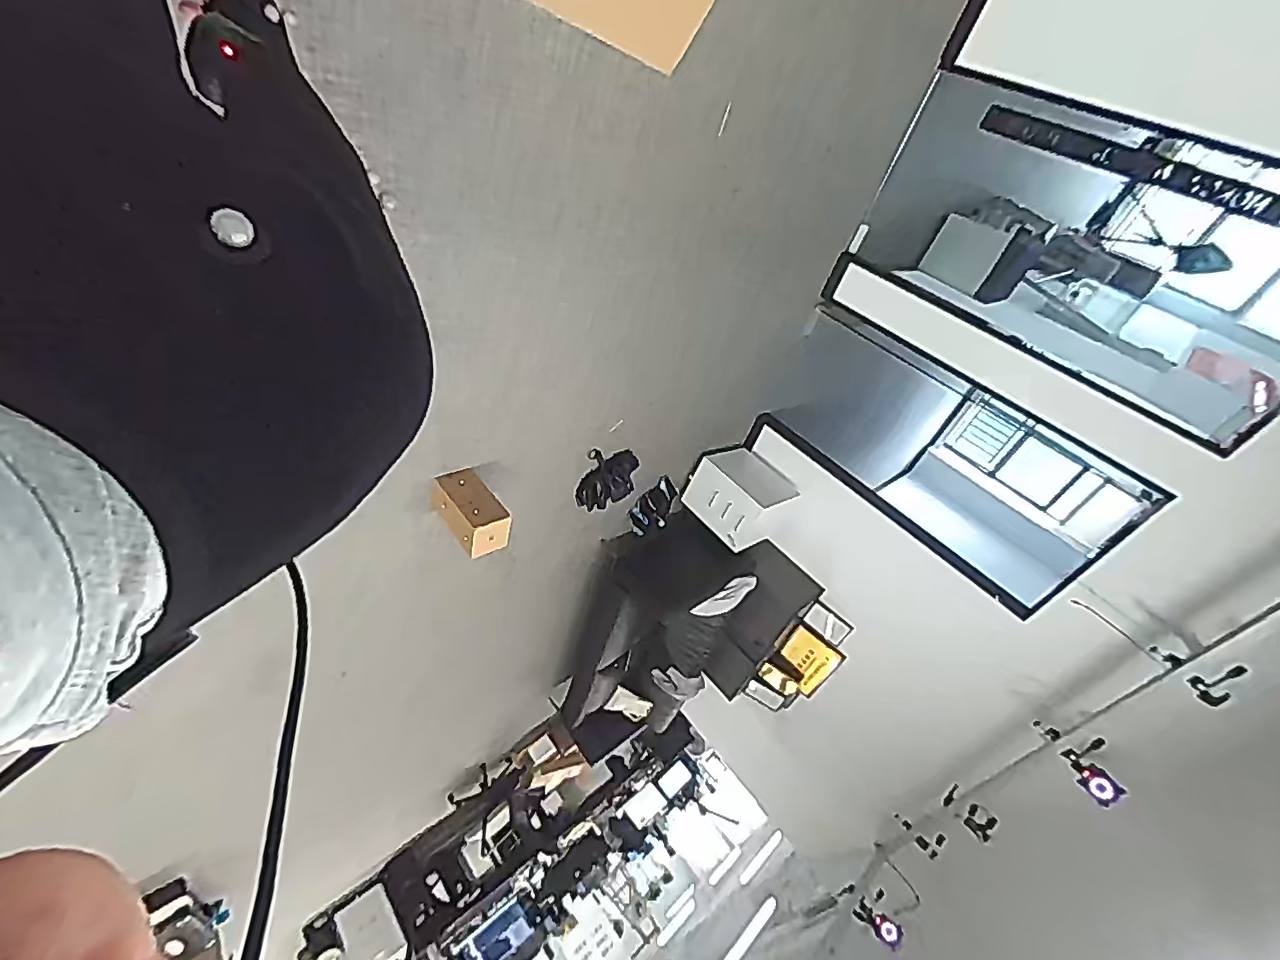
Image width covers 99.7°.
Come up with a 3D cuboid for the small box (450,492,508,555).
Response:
[{"bbox_3d":[-0.661,0.168,2.208,0.168,0.176,0.179,-21,146,-39],"label":"small box"}]

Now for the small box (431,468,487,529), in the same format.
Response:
[{"bbox_3d":[-0.766,0.069,2.282,0.168,0.176,0.179,-22,145,-39],"label":"small box"}]
